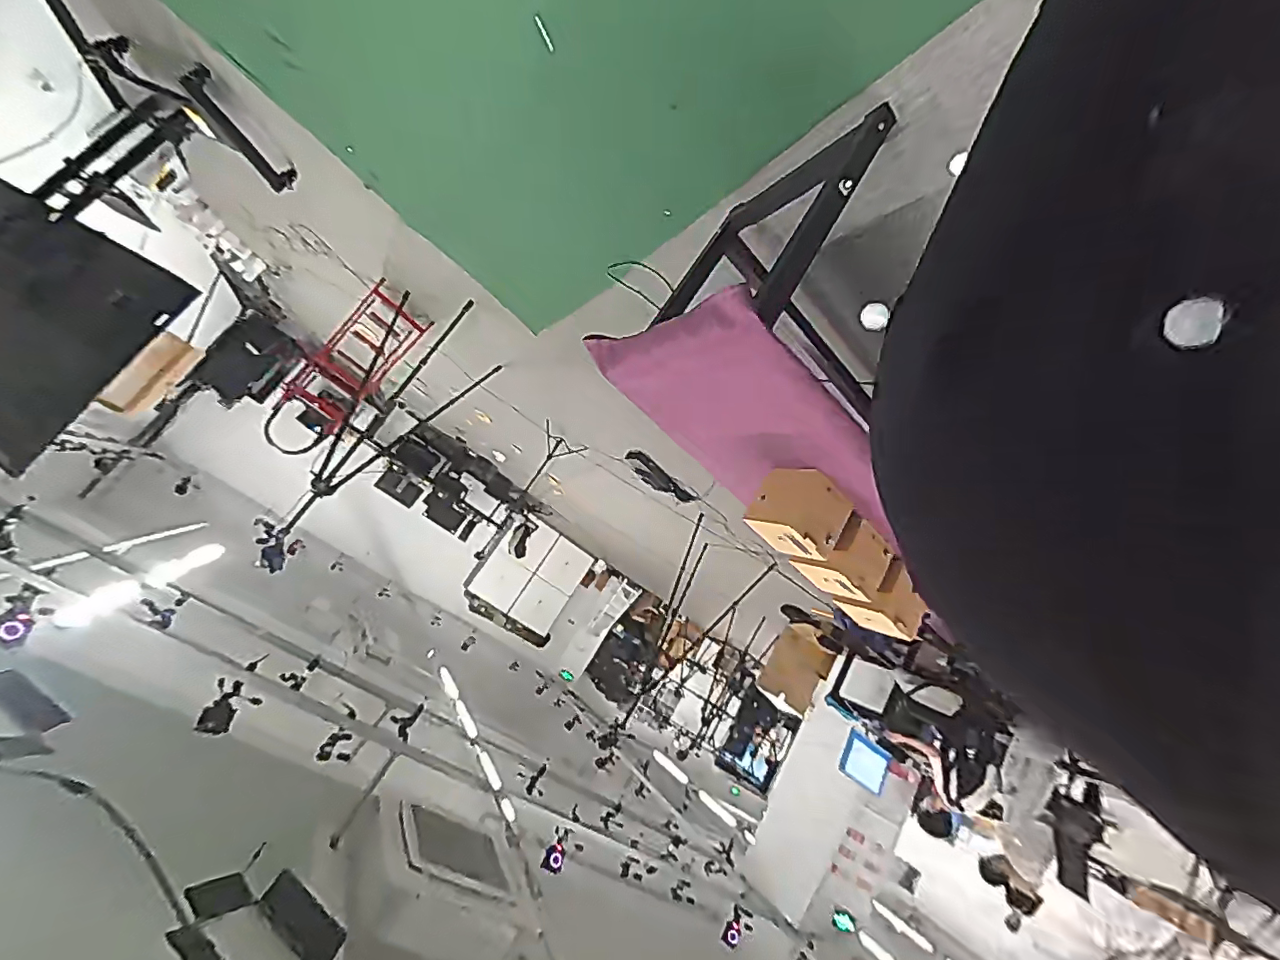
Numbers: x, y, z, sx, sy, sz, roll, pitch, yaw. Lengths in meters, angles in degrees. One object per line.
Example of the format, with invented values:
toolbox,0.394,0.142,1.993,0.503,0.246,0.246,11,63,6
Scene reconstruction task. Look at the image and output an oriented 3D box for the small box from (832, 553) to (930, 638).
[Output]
small box,0.707,0.331,1.582,0.168,0.176,0.179,40,162,-24
